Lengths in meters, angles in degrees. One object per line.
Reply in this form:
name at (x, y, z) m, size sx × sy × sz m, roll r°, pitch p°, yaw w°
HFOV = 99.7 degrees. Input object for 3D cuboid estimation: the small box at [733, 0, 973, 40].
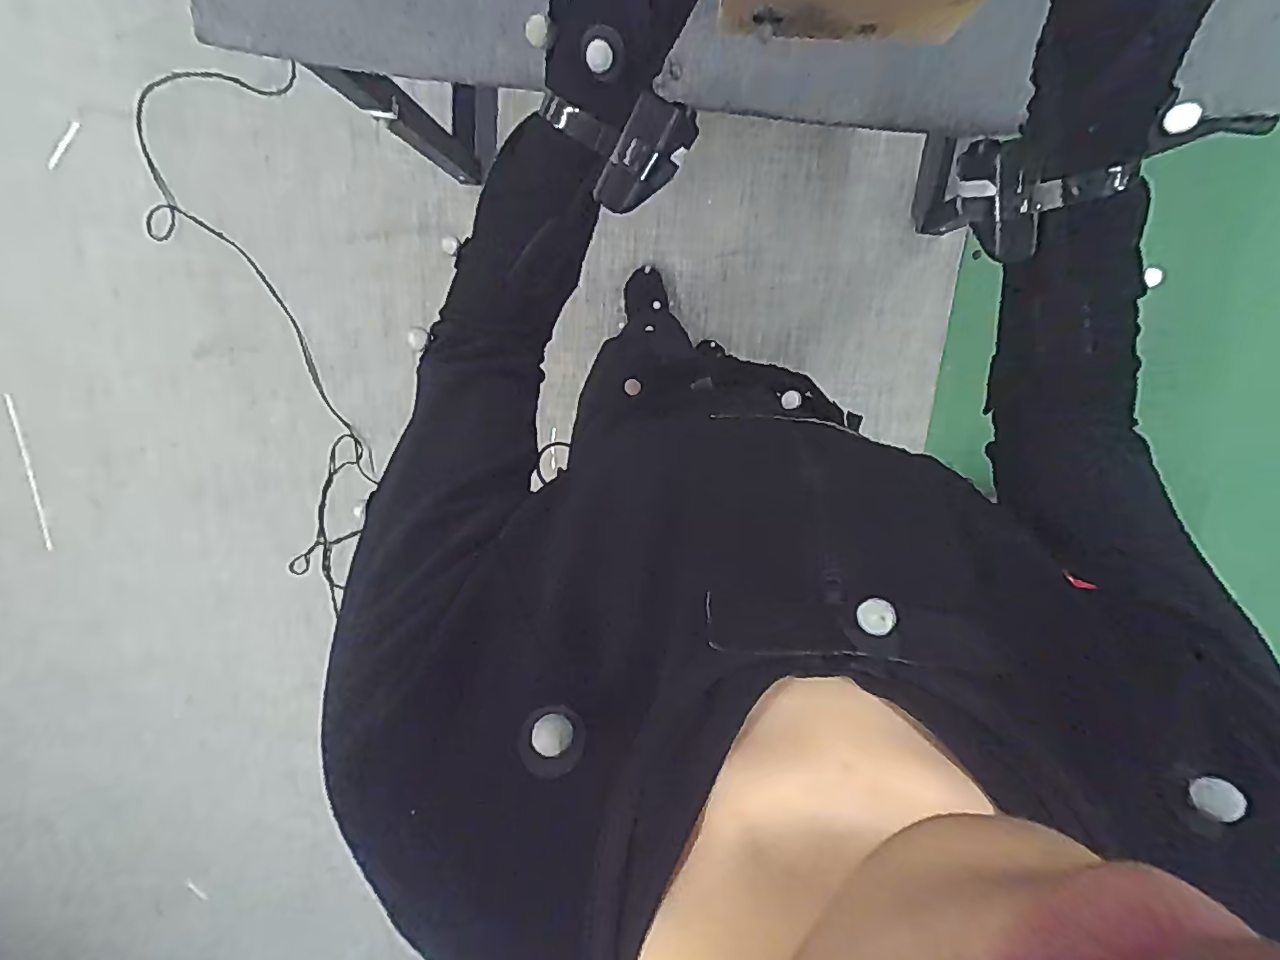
small box at (0.142, -0.383, 0.297) m, size 0.168 × 0.176 × 0.179 m, roll 5°, pitch 107°, yaw 3°
